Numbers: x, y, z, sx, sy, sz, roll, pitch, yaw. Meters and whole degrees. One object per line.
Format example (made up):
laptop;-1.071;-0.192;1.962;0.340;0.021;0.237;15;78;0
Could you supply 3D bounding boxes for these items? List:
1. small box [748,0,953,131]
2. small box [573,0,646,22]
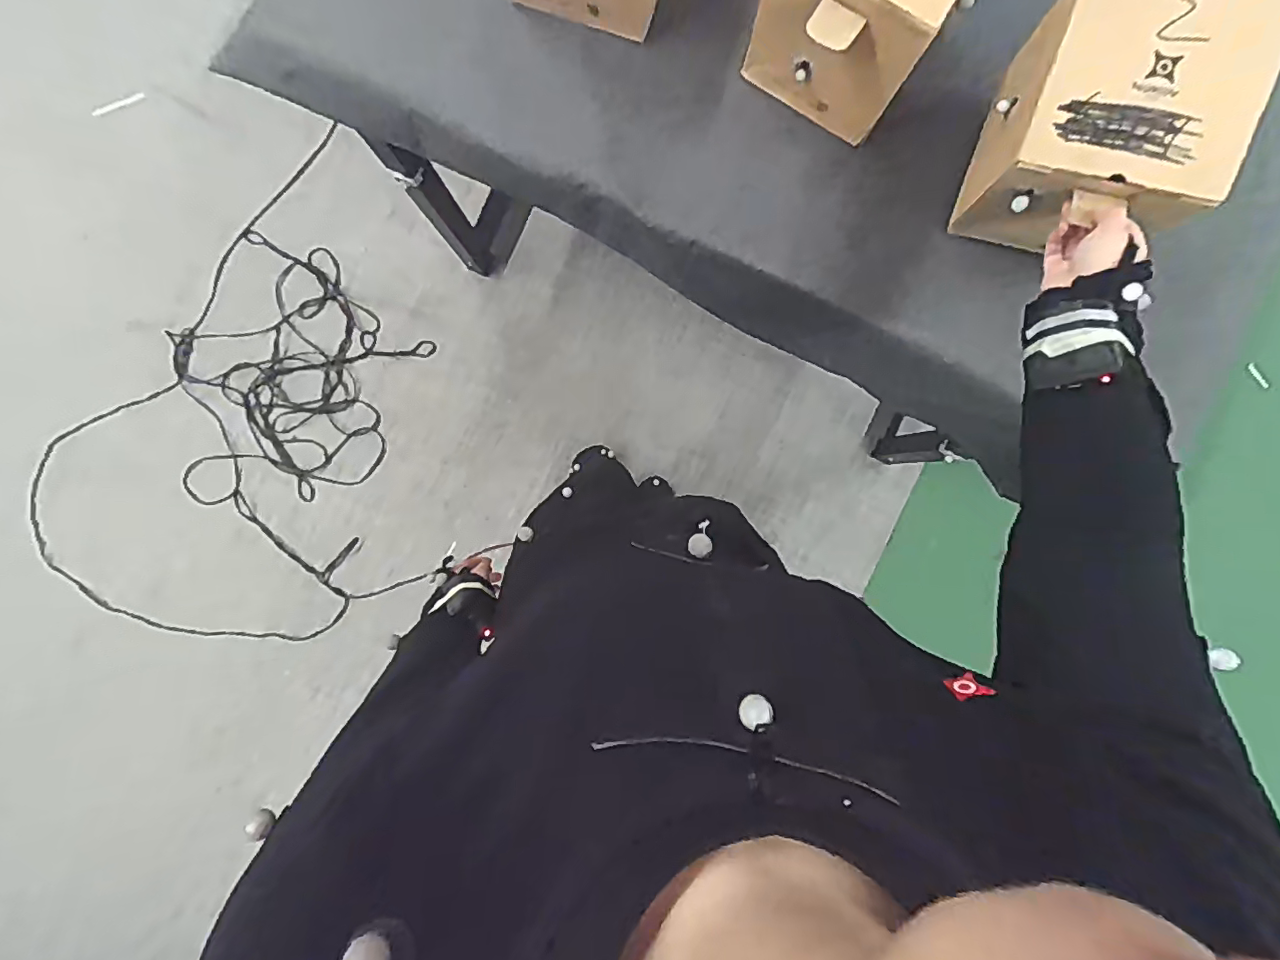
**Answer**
small box;0.228;-0.508;0.538;0.168;0.176;0.179;31;90;-2
small box;-0.051;-0.615;0.532;0.168;0.176;0.179;17;89;-3
